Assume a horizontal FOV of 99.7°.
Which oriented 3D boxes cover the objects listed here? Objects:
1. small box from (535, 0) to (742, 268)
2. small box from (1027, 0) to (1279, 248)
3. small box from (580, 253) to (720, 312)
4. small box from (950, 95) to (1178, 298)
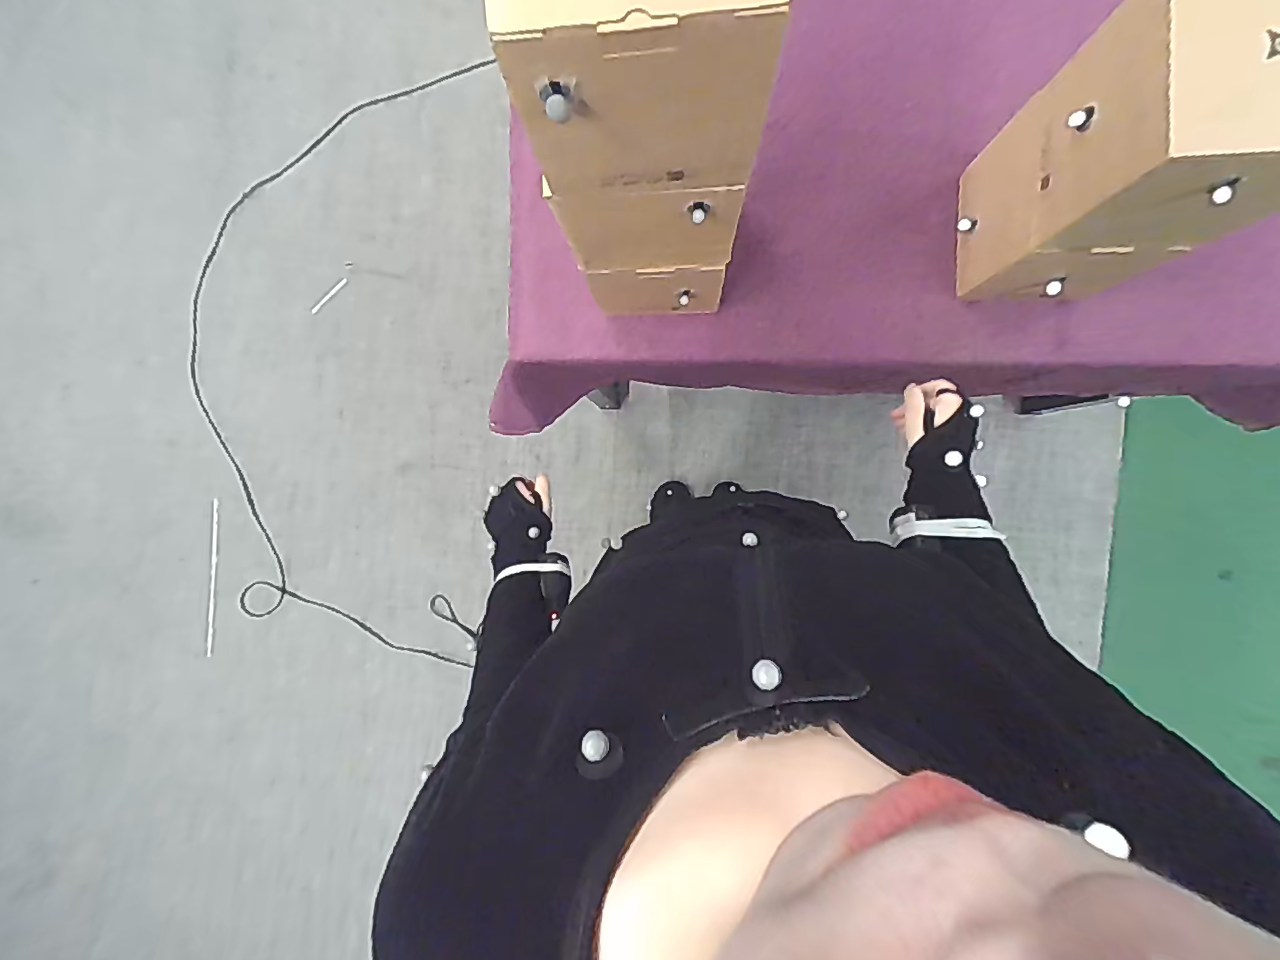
[{"bbox_3d":[0.002,-0.324,0.540,0.179,0.176,0.168,-2,90,3],"label":"small box"},{"bbox_3d":[0.496,-0.329,0.500,0.179,0.176,0.168,1,91,4],"label":"small box"},{"bbox_3d":[0.018,-0.324,0.701,0.168,0.176,0.179,0,90,3],"label":"small box"},{"bbox_3d":[0.506,-0.332,0.665,0.168,0.176,0.179,2,91,4],"label":"small box"}]
